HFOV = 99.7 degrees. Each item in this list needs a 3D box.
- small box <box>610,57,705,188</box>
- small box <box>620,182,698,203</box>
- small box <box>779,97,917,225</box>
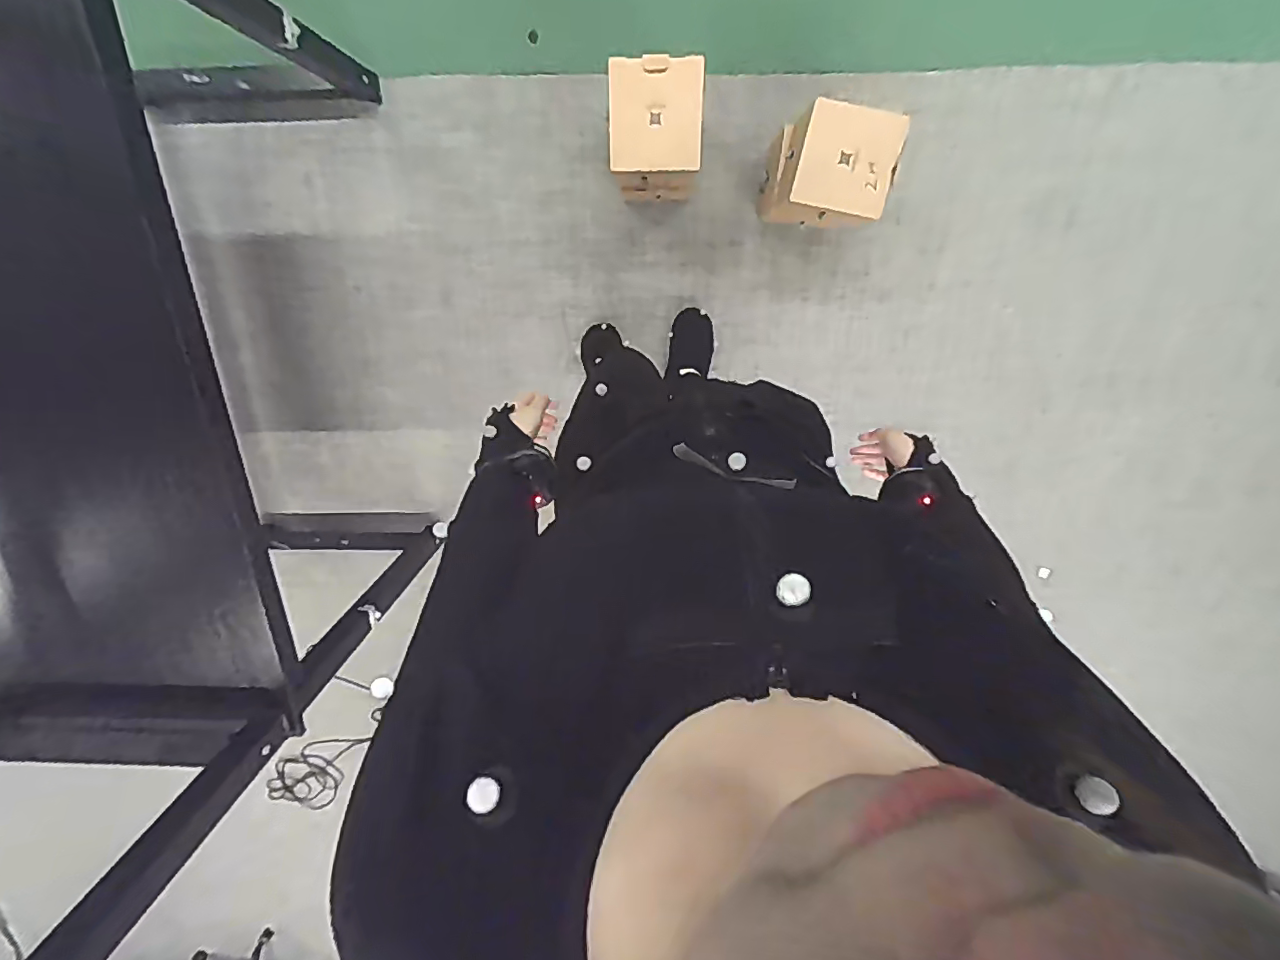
[{"bbox_3d":[0.035,-0.658,1.017,0.168,0.176,0.179,0,109,3],"label":"small box"},{"bbox_3d":[0.044,-0.706,1.172,0.168,0.176,0.179,-1,110,4],"label":"small box"},{"bbox_3d":[0.377,-0.589,1.022,0.179,0.176,0.168,11,111,-1],"label":"small box"}]
